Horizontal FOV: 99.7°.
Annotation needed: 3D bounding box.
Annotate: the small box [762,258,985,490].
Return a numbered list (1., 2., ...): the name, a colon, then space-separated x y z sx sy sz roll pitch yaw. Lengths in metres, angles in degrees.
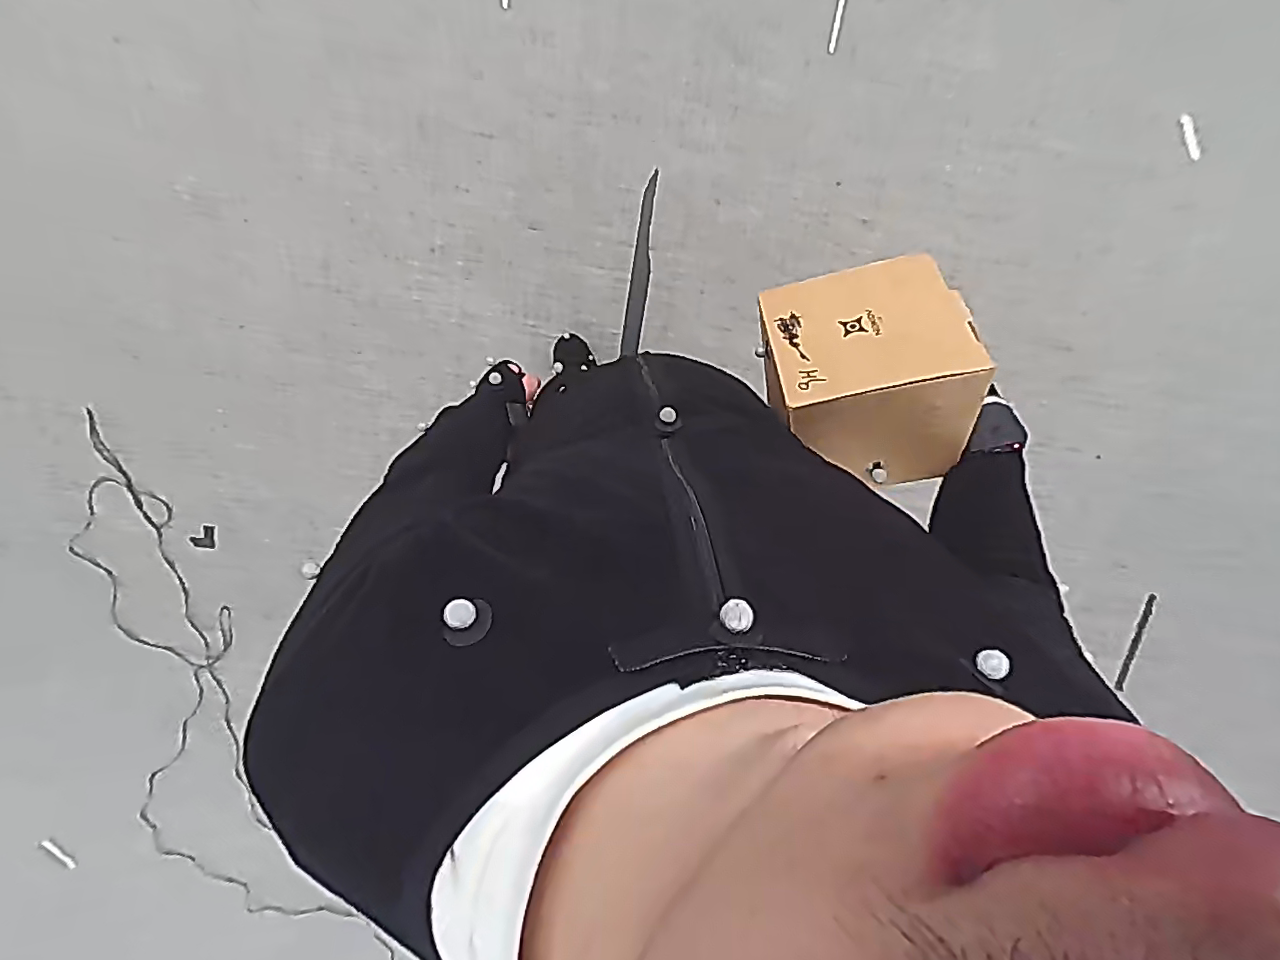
1. small box: 0.238 -0.108 0.599 0.179 0.168 0.176 -10 144 10
